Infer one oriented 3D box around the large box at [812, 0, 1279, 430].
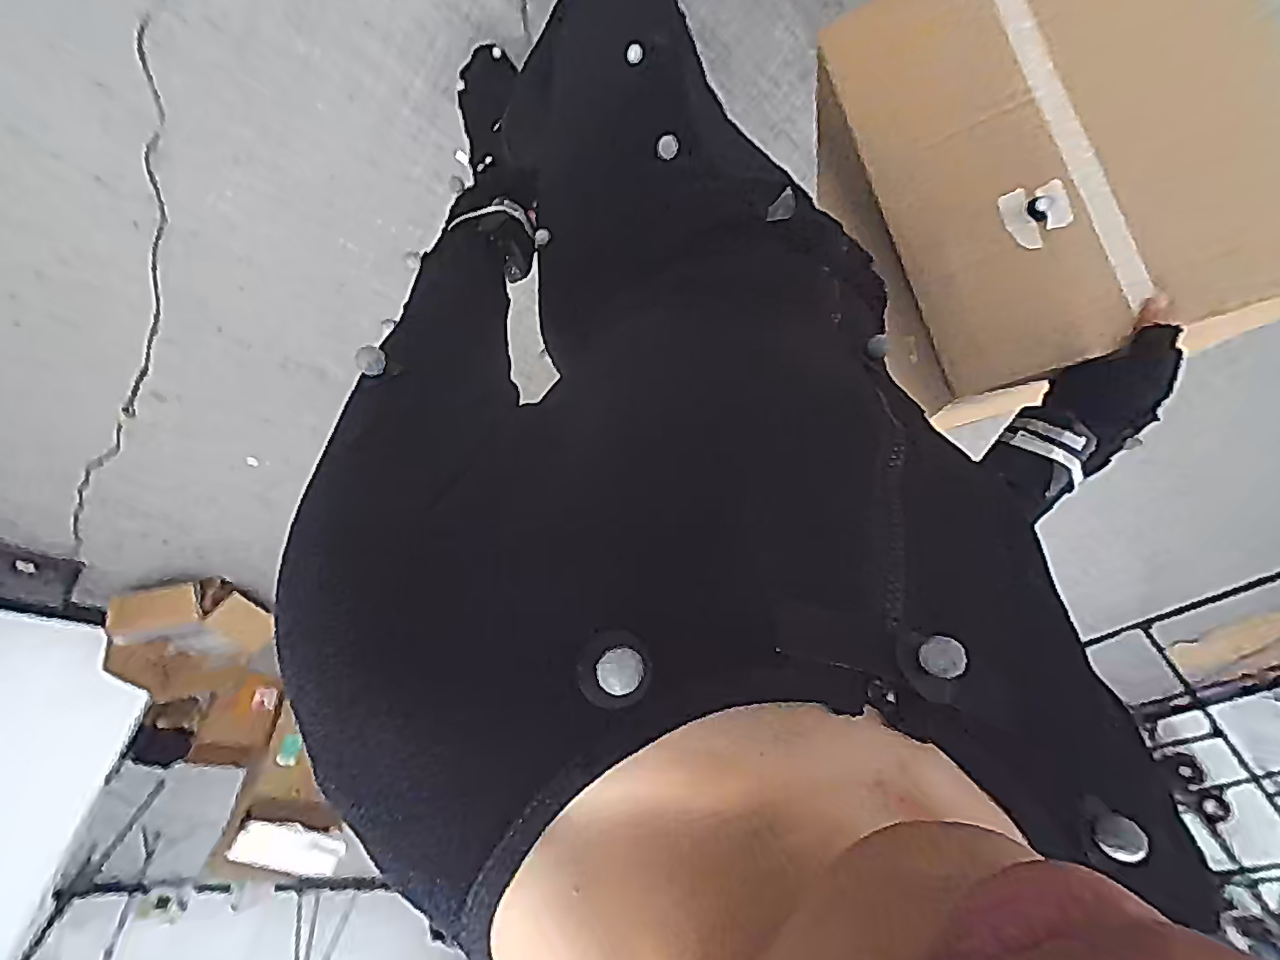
[{"bbox_3d":[0.415,-0.308,0.624,0.320,0.408,0.320,-18,173,16],"label":"large box"}]
